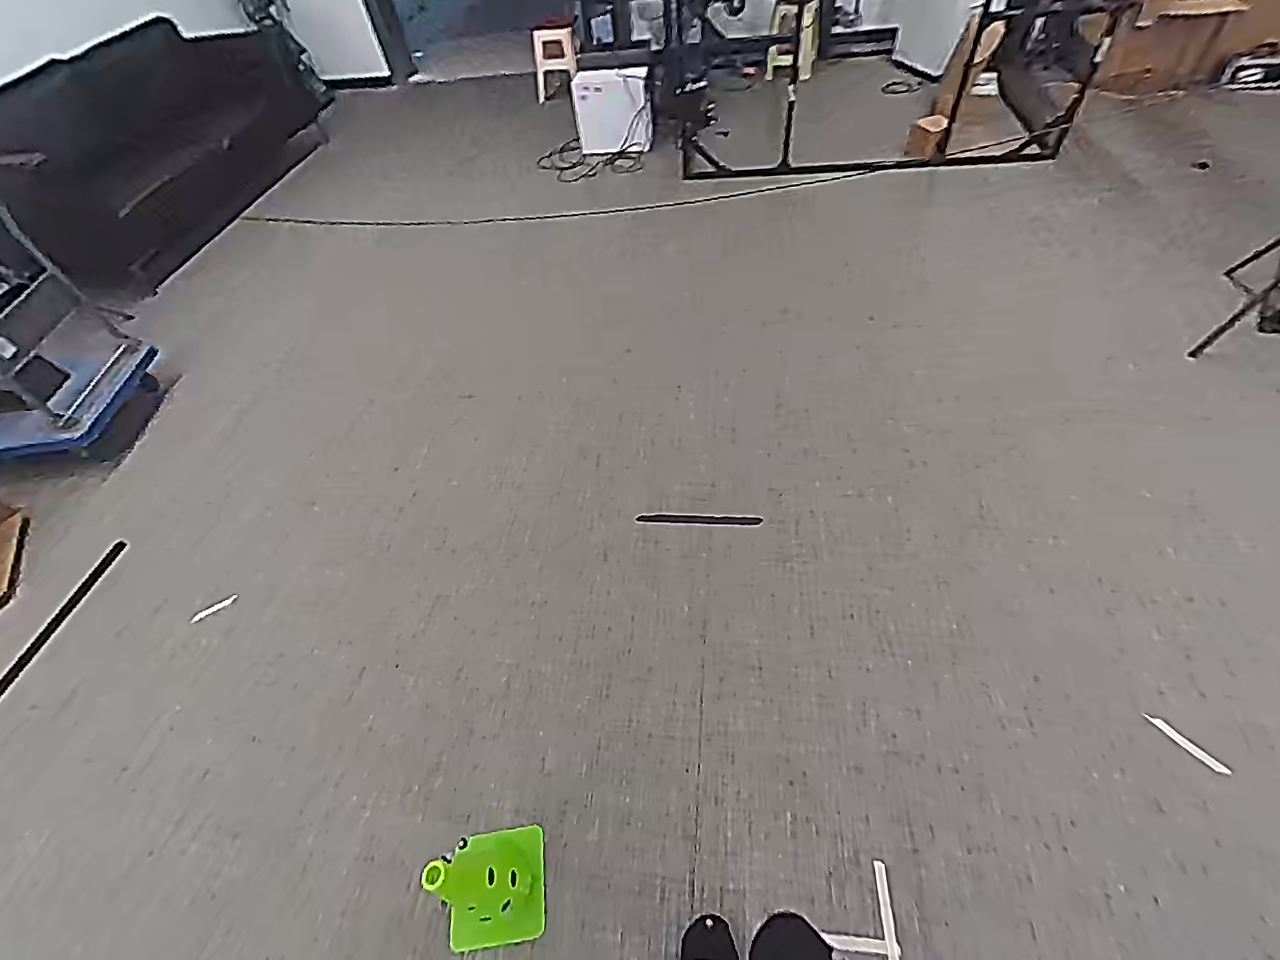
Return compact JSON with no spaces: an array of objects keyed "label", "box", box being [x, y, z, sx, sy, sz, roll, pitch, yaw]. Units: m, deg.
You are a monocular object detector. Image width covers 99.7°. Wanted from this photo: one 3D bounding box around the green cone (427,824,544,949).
[{"label":"green cone","box":[-0.323,0.763,1.030,0.202,0.368,0.200,-9,51,-1]}]
